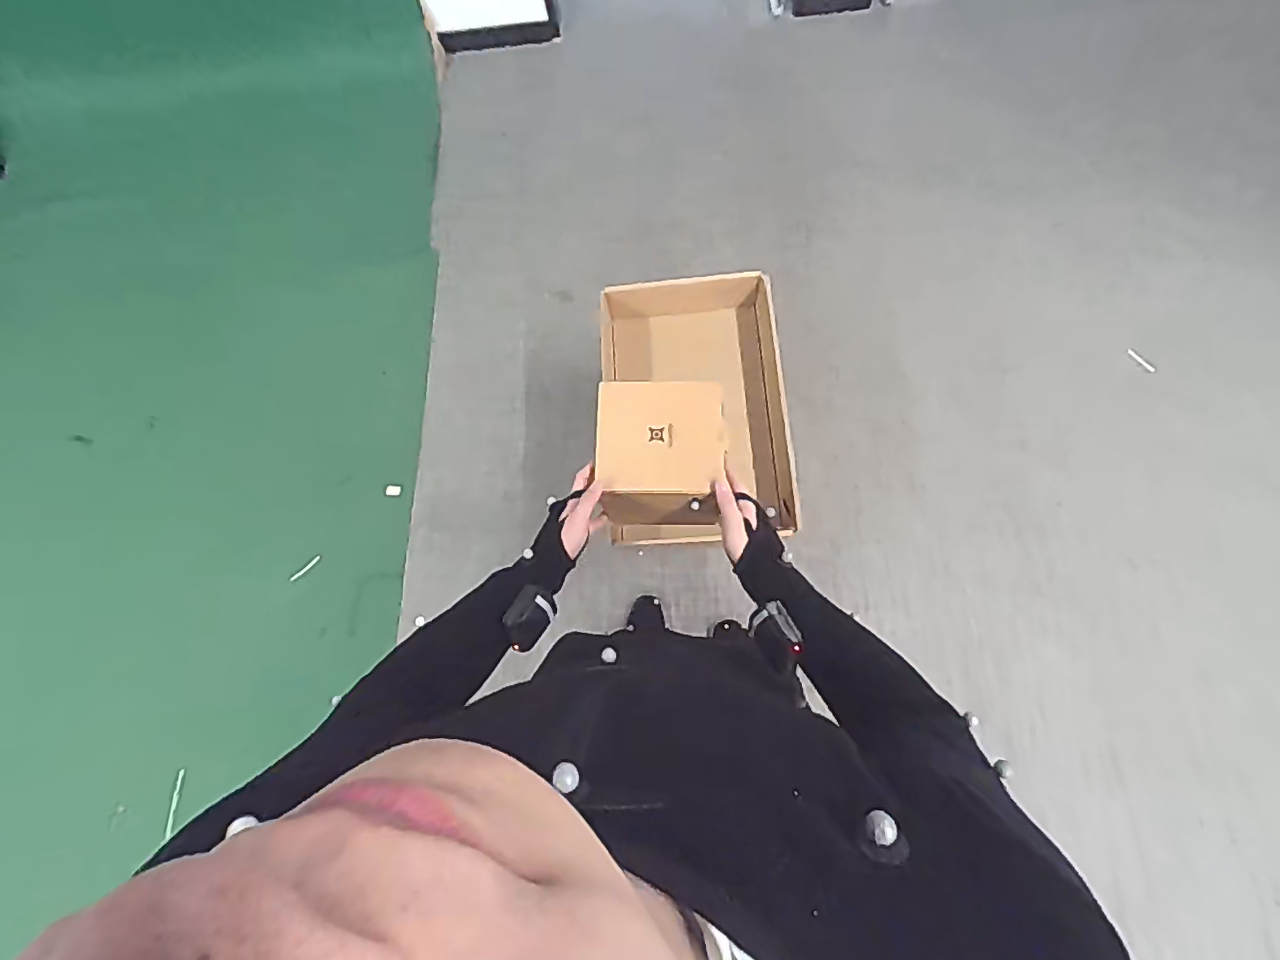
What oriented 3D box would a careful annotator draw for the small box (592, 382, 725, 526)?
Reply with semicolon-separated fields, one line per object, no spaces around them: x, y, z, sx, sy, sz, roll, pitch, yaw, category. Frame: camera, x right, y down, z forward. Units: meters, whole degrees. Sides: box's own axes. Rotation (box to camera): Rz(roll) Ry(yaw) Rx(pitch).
0.028;-0.031;0.801;0.179;0.176;0.168;0;70;2;small box
